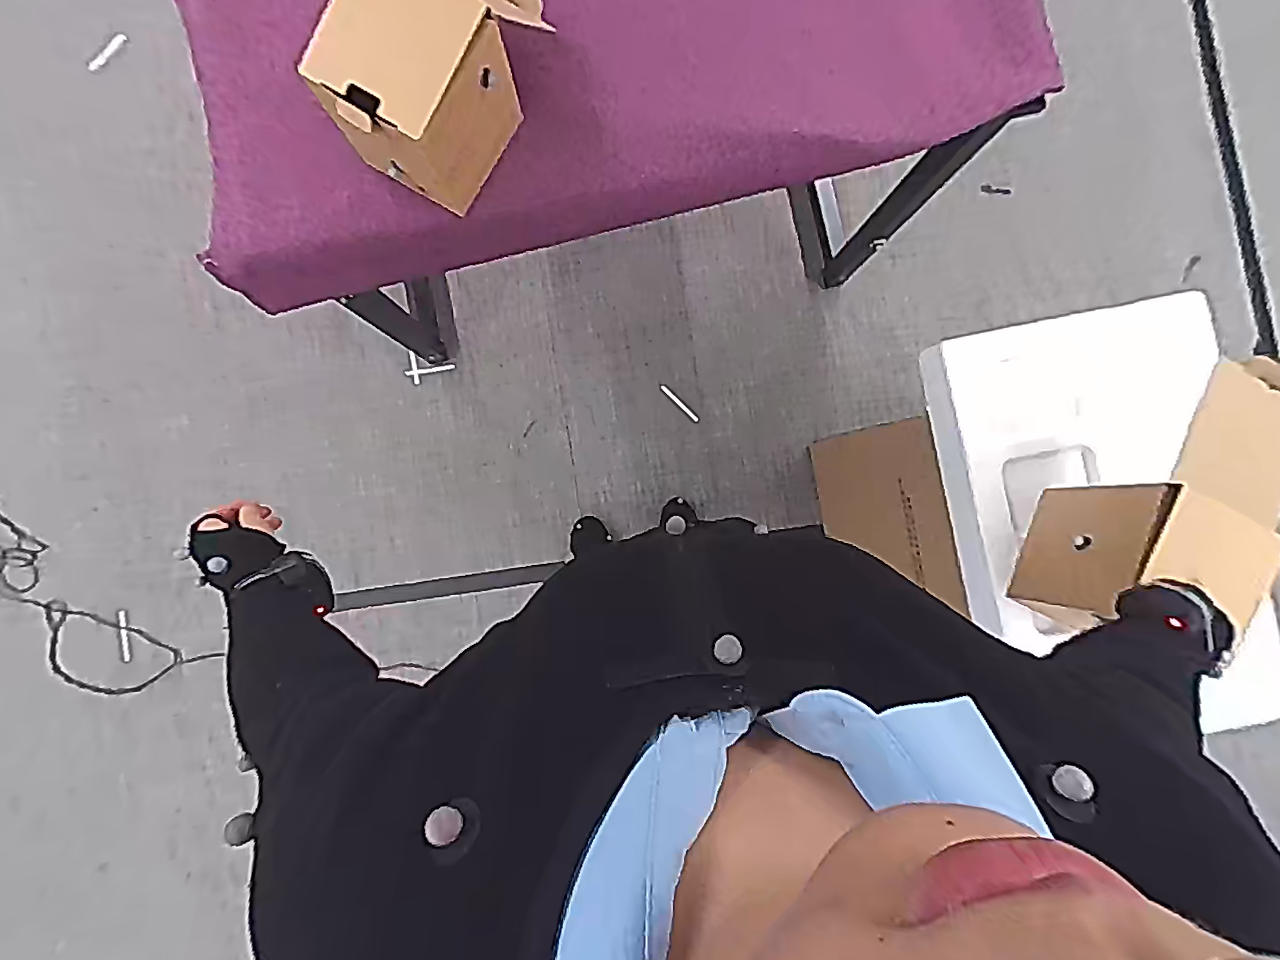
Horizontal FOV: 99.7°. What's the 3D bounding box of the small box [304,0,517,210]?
[{"bbox_3d":[-0.278,-0.502,0.706,0.168,0.176,0.179,30,87,1],"label":"small box"}]
